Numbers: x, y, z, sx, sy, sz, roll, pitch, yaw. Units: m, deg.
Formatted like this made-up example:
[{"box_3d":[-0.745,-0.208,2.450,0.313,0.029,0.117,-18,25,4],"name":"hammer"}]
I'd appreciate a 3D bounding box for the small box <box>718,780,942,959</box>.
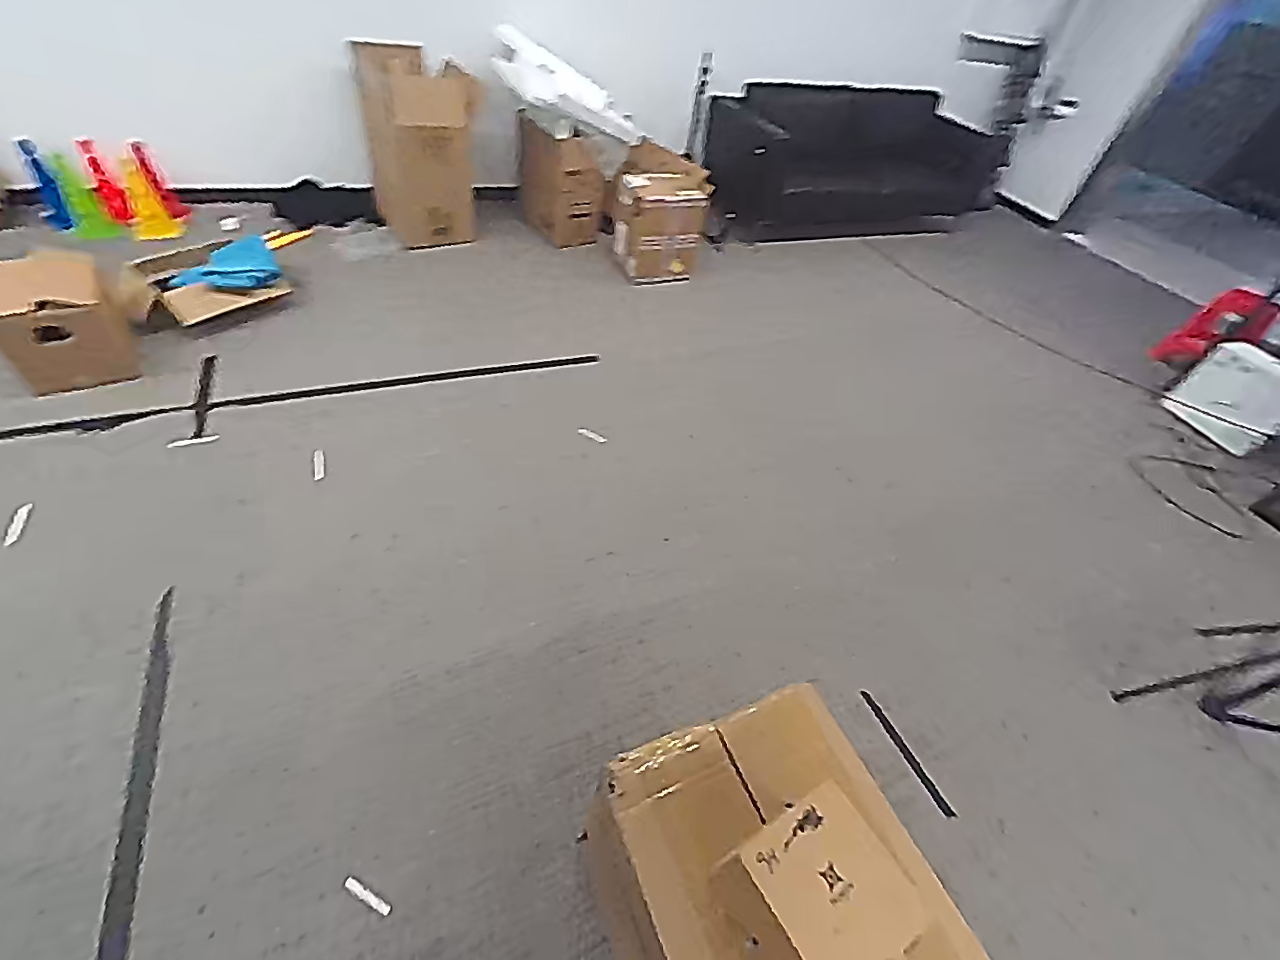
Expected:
[{"box_3d":[0.225,0.526,0.686,0.168,0.176,0.179,-21,54,-26],"name":"small box"}]
